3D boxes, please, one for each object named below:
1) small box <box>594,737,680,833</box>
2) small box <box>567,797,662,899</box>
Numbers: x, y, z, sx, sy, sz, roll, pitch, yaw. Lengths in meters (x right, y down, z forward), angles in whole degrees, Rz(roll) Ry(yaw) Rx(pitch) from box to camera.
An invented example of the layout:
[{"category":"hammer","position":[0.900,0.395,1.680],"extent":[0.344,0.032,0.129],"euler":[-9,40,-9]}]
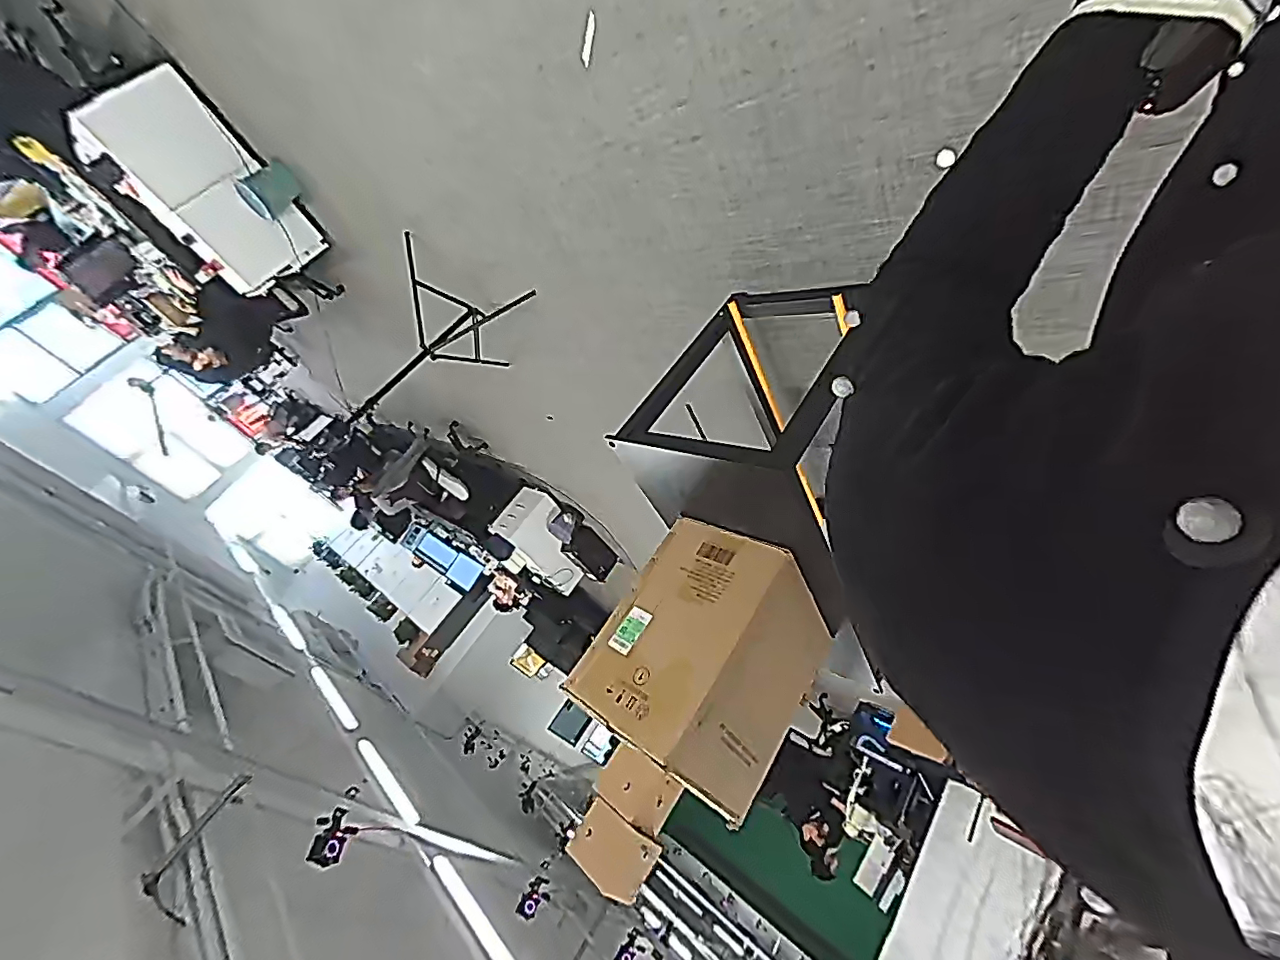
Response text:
[{"category":"small box","position":[0.000,0.915,1.633],"extent":[0.179,0.176,0.168],"euler":[15,149,44]},{"category":"small box","position":[-0.069,1.045,1.552],"extent":[0.179,0.176,0.168],"euler":[13,149,47]}]
